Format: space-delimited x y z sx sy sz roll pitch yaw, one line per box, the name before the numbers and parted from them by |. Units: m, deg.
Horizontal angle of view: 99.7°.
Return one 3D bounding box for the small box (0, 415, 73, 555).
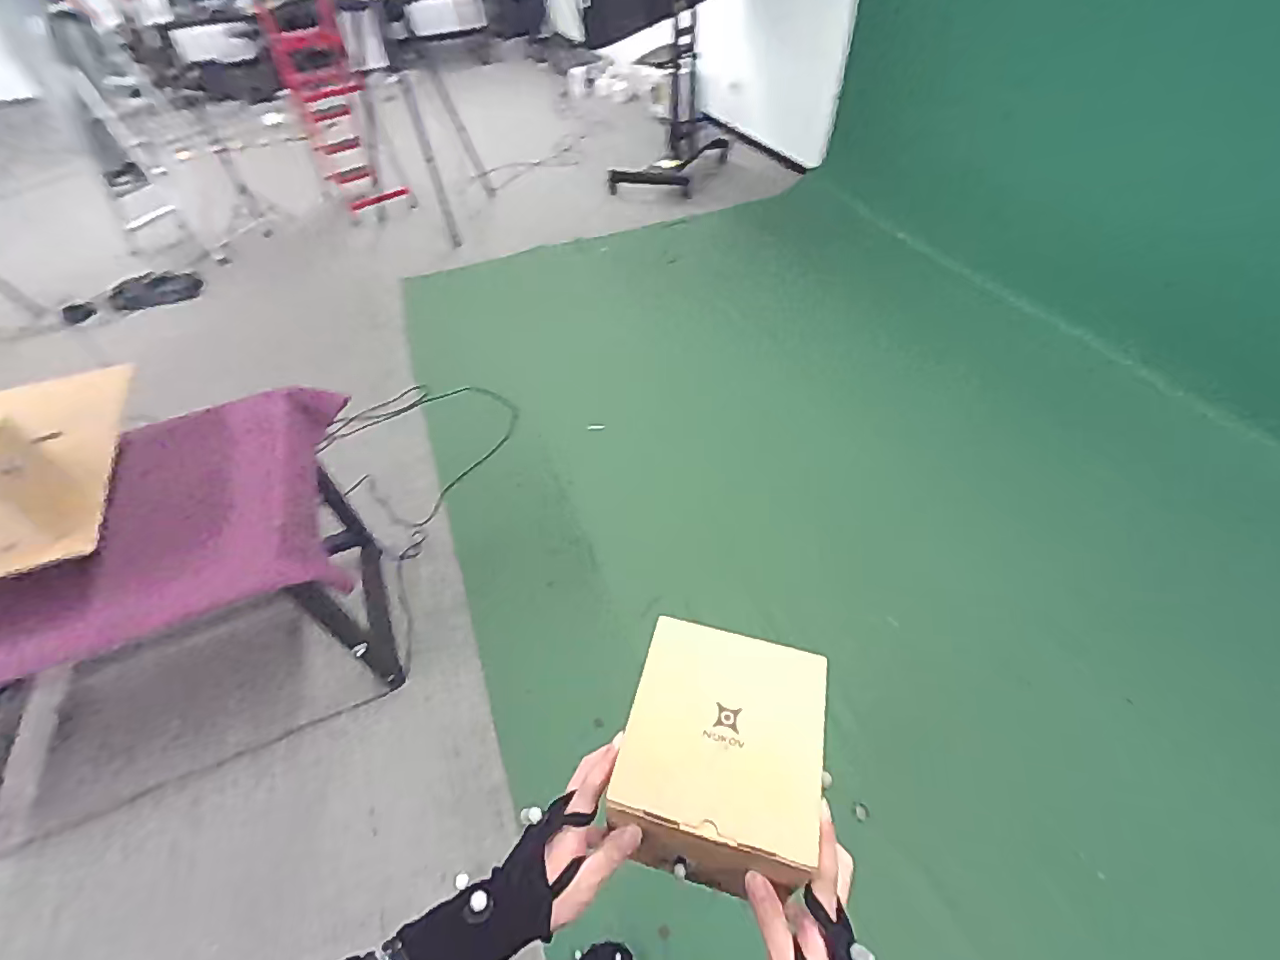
small box | -1.125 0.024 0.911 0.168 0.176 0.179 -19 50 -17
